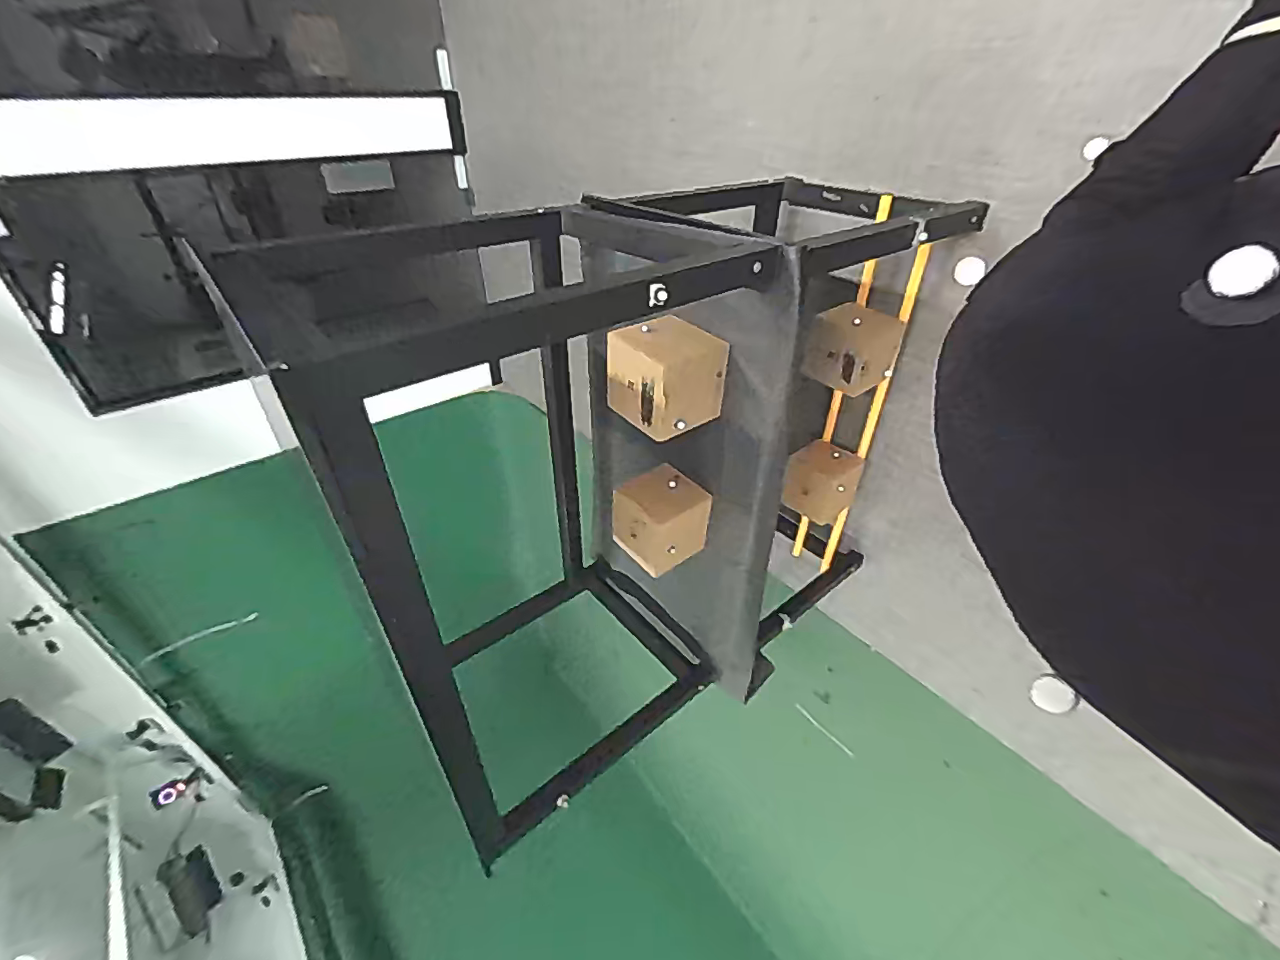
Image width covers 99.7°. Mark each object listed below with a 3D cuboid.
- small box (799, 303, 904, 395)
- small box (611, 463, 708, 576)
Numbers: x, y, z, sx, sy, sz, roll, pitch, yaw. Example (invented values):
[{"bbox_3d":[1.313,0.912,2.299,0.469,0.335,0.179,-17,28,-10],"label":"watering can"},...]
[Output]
[{"bbox_3d":[0.558,-0.352,1.427,0.179,0.176,0.168,38,140,35],"label":"small box"},{"bbox_3d":[0.046,0.091,1.302,0.168,0.176,0.179,38,141,35],"label":"small box"}]
